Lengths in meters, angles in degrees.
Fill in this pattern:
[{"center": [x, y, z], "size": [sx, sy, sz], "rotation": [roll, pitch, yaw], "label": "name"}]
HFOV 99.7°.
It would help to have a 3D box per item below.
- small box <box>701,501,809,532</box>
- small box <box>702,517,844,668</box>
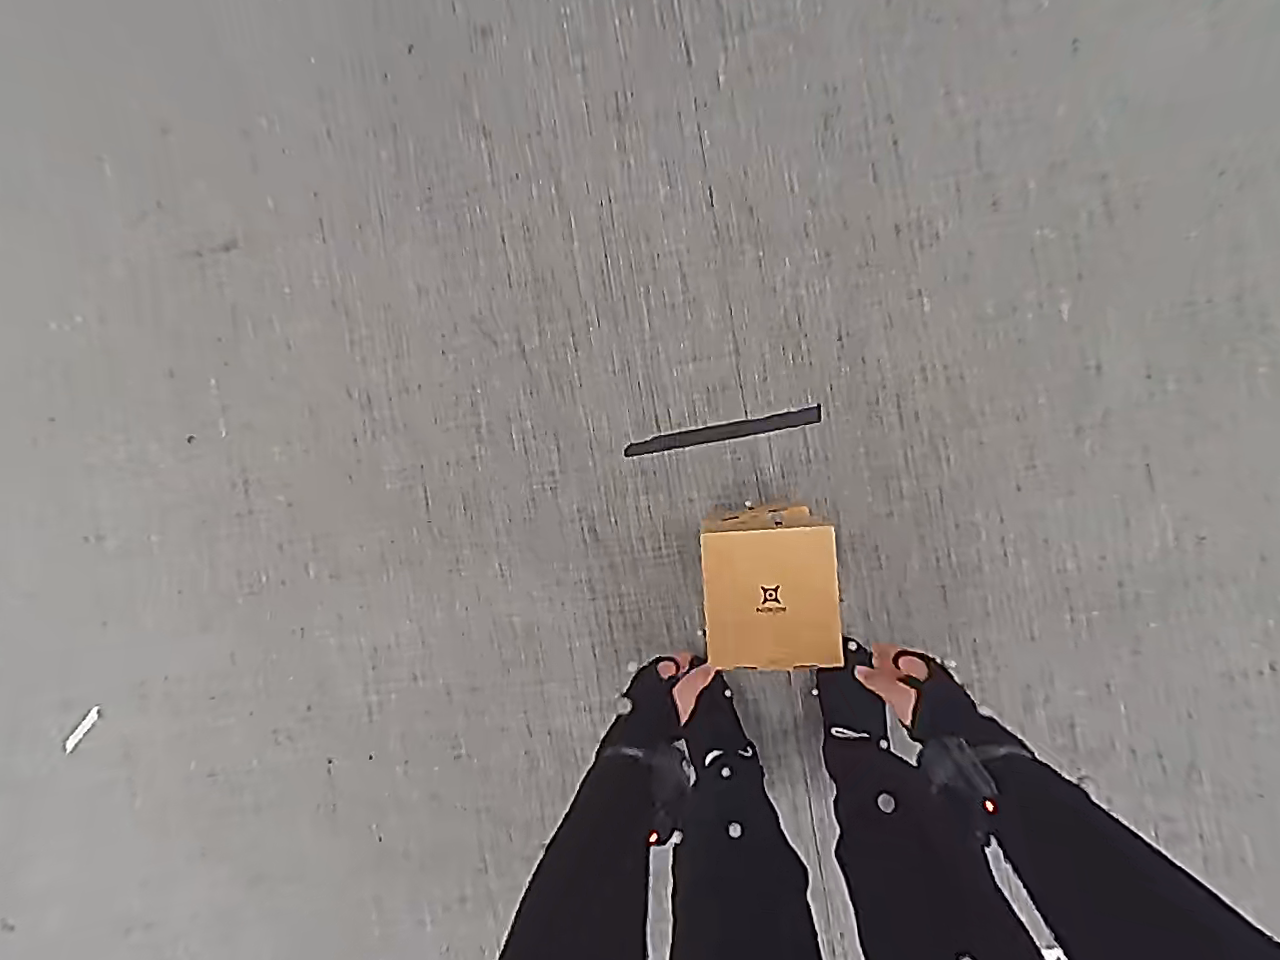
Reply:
[{"center": [0.200, 0.137, 0.903], "size": [0.168, 0.176, 0.179], "rotation": [-11, 88, 8], "label": "small box"}, {"center": [0.172, 0.143, 0.743], "size": [0.168, 0.176, 0.179], "rotation": [-4, 91, 8], "label": "small box"}]
